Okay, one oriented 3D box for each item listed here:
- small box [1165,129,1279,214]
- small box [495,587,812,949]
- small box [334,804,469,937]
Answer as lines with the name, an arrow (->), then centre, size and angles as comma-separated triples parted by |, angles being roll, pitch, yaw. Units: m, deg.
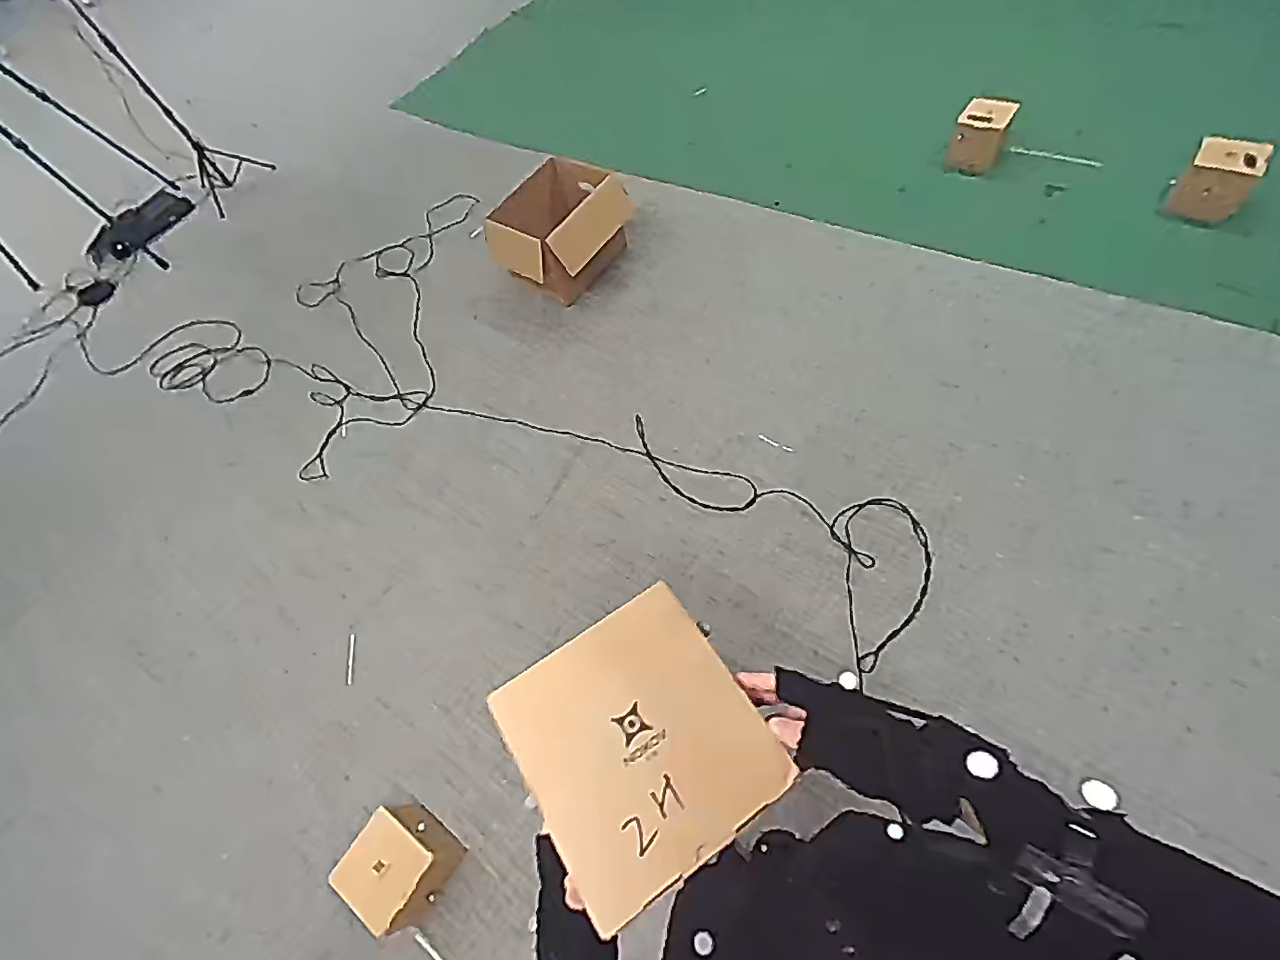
small box -> 1.880, -0.996, 1.754 | 0.179, 0.176, 0.168 | 29, 70, 24
small box -> 0.008, 0.224, 0.450 | 0.168, 0.176, 0.179 | -31, 64, -12
small box -> -0.521, 0.853, 1.200 | 0.179, 0.176, 0.168 | 26, 69, 22
